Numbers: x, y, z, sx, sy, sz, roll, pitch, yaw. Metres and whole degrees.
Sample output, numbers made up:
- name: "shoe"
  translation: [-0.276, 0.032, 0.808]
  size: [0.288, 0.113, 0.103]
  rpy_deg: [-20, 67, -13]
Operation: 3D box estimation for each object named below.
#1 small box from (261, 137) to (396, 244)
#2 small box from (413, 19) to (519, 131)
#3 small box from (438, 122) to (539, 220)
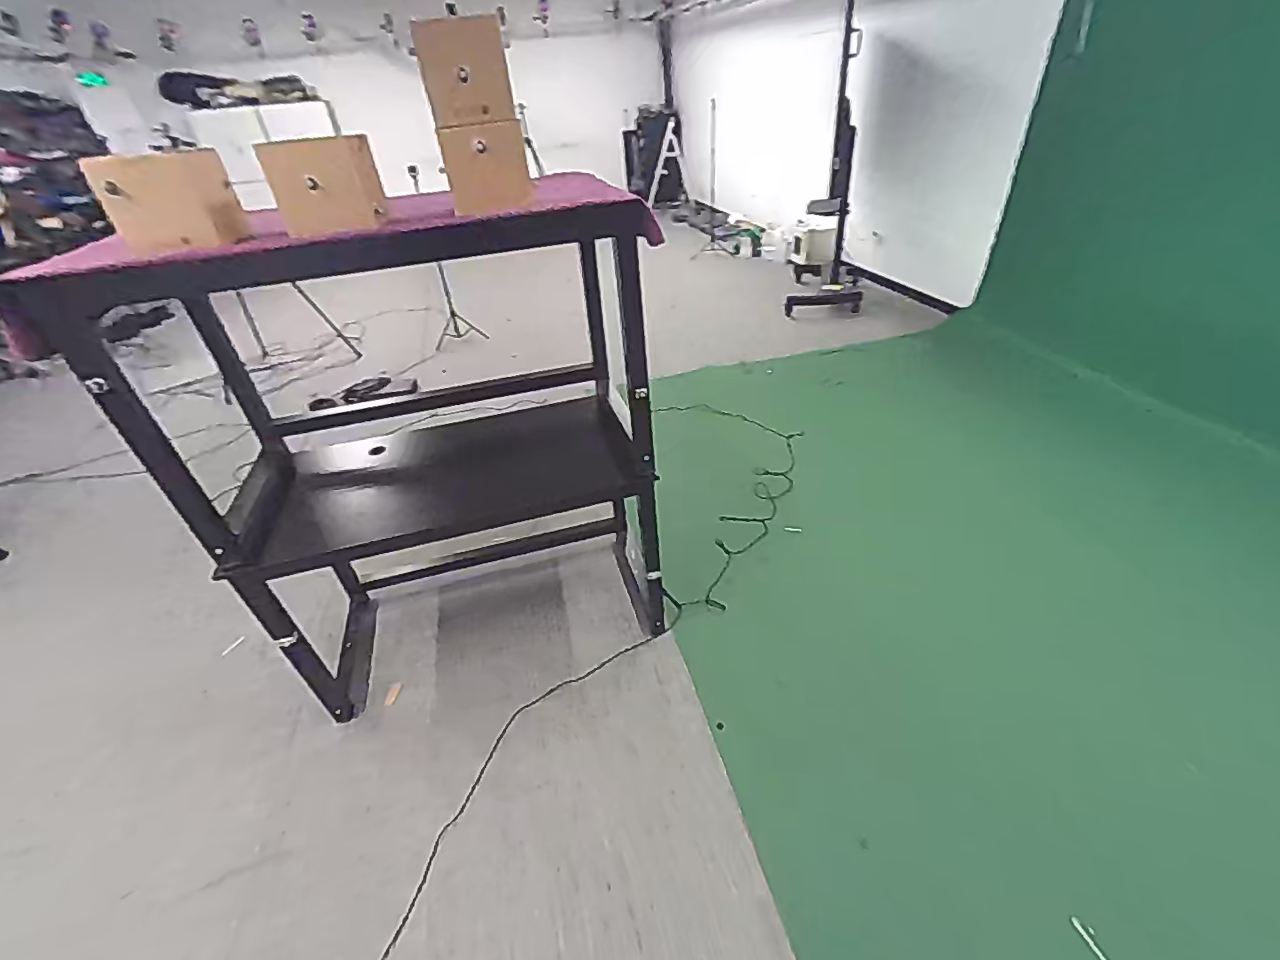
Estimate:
- name: "small box"
  translation: [-0.639, -0.611, 1.139]
  size: [0.179, 0.176, 0.168]
  rpy_deg: [-11, 35, -5]
- name: "small box"
  translation: [-0.348, -0.825, 1.115]
  size: [0.168, 0.176, 0.179]
  rpy_deg: [-11, 36, -7]
- name: "small box"
  translation: [-0.330, -0.688, 1.204]
  size: [0.179, 0.176, 0.168]
  rpy_deg: [-11, 35, -7]
